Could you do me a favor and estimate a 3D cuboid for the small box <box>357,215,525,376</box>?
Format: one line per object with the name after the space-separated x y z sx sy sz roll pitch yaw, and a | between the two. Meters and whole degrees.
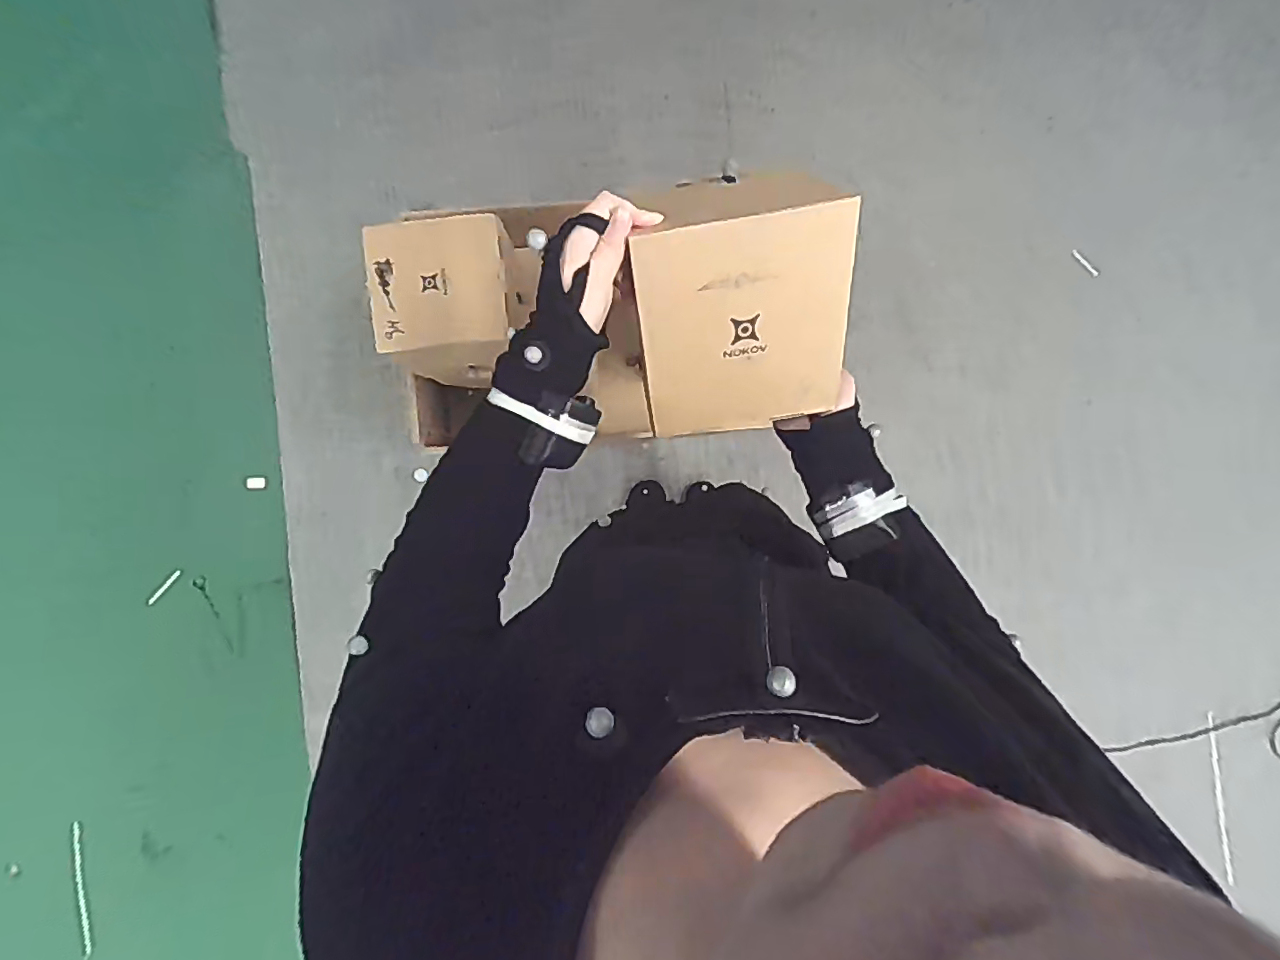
-0.267 -0.250 0.769 0.179 0.176 0.168 -7 90 -1 | small box
